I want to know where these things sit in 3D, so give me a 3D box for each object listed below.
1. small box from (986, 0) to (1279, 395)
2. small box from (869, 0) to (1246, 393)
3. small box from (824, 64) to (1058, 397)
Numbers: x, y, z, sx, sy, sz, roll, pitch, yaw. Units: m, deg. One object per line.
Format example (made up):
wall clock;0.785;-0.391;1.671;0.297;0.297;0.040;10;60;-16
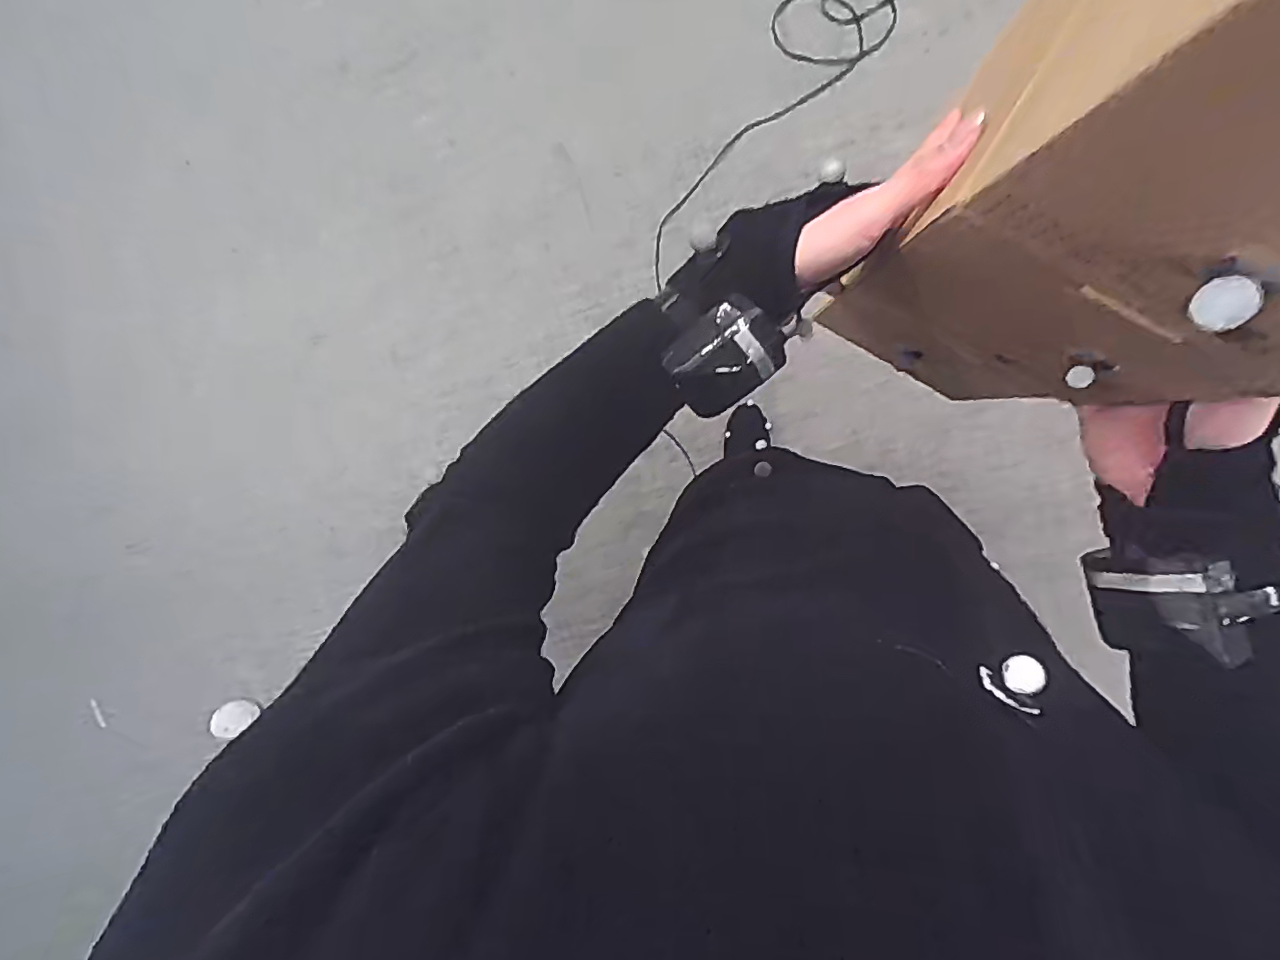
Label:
small box;0.223;-0.126;0.114;0.168;0.176;0.179;30;102;2
small box;0.243;-0.155;0.274;0.168;0.176;0.179;28;99;2
small box;0.268;-0.180;0.434;0.168;0.176;0.179;30;101;3
